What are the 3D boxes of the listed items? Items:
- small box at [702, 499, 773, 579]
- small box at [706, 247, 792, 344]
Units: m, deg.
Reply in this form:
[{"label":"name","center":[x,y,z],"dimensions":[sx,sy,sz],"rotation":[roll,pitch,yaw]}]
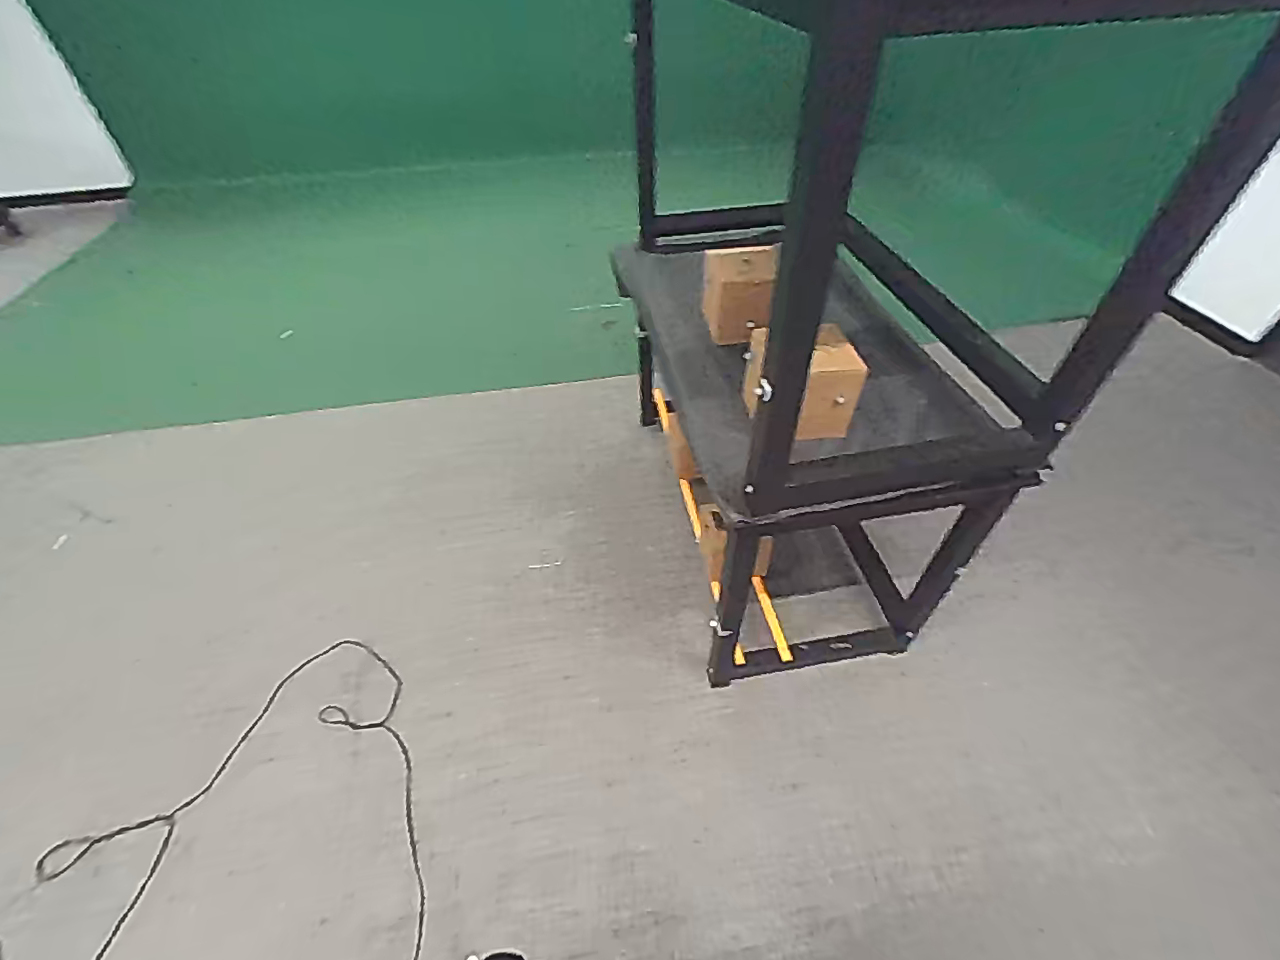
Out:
[{"label":"small box","center":[0.282,0.179,1.604],"dimensions":[0.179,0.176,0.168],"rotation":[-6,47,-3]},{"label":"small box","center":[0.265,-0.462,1.356],"dimensions":[0.168,0.176,0.179],"rotation":[-6,46,-3]}]
